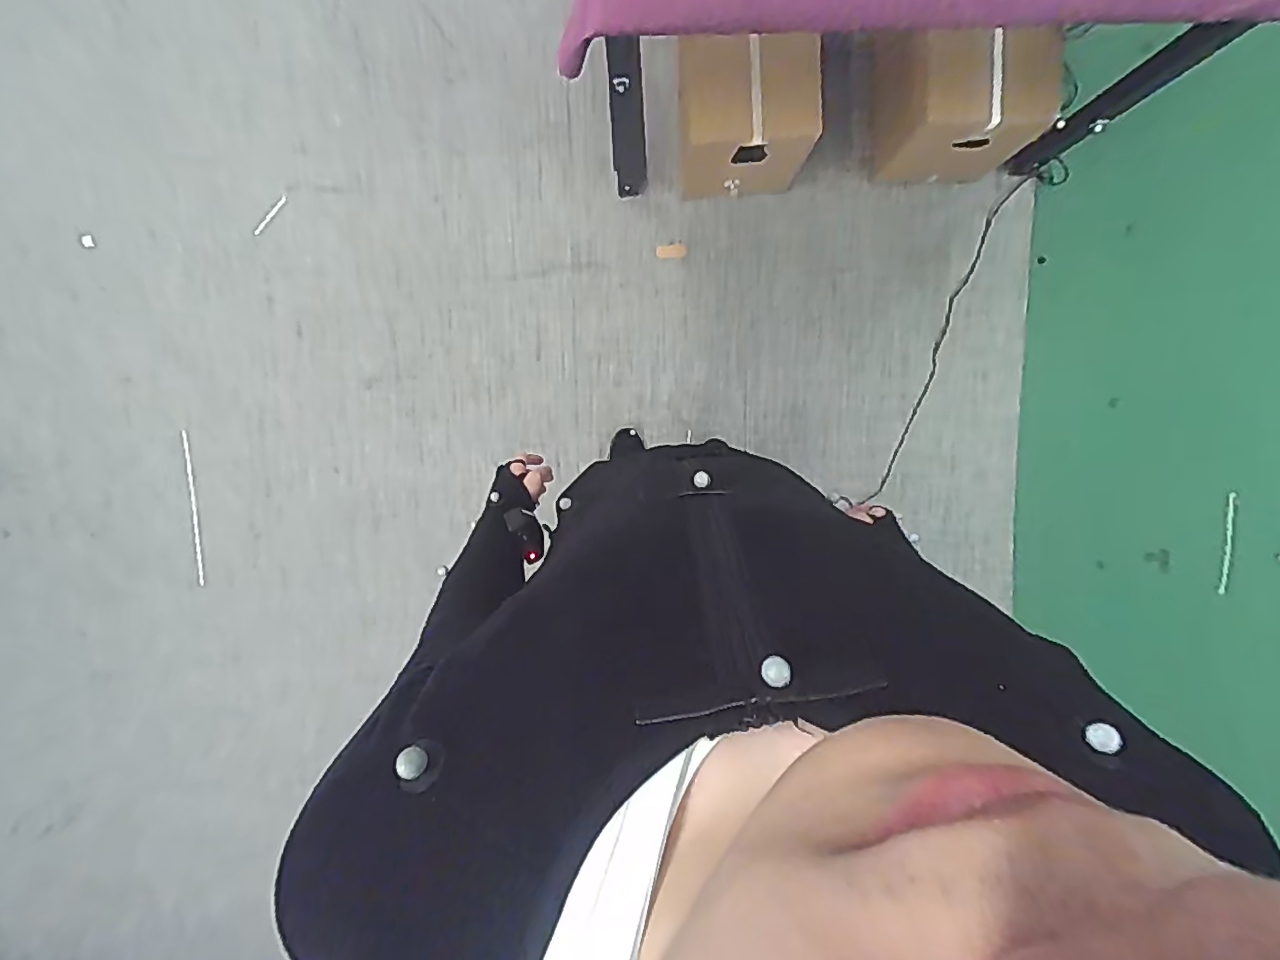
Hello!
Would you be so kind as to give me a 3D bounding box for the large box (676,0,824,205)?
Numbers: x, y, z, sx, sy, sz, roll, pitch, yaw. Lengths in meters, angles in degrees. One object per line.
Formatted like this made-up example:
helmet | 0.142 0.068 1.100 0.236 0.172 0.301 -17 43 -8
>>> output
large box | 0.264 -0.992 1.398 0.320 0.320 0.408 -4 94 0
